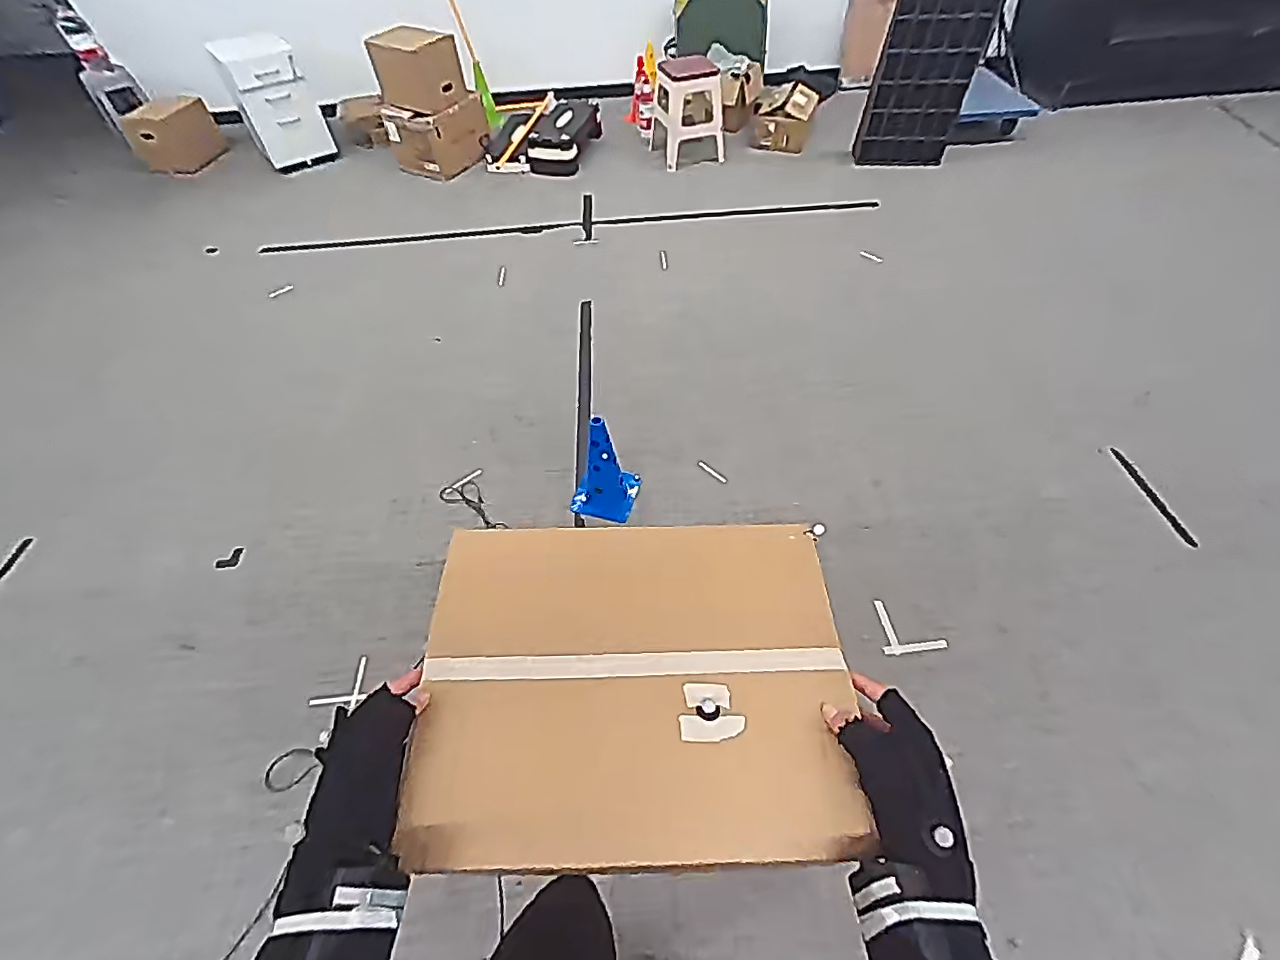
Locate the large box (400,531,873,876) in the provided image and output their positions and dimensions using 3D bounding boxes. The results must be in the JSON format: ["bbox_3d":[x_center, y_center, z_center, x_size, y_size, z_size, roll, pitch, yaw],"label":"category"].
[{"bbox_3d":[-0.007,0.276,0.653,0.408,0.320,0.320,0,53,-1],"label":"large box"}]

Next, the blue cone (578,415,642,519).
[{"bbox_3d":[-0.107,-0.054,1.713,0.193,0.380,0.192,14,54,13],"label":"blue cone"}]
